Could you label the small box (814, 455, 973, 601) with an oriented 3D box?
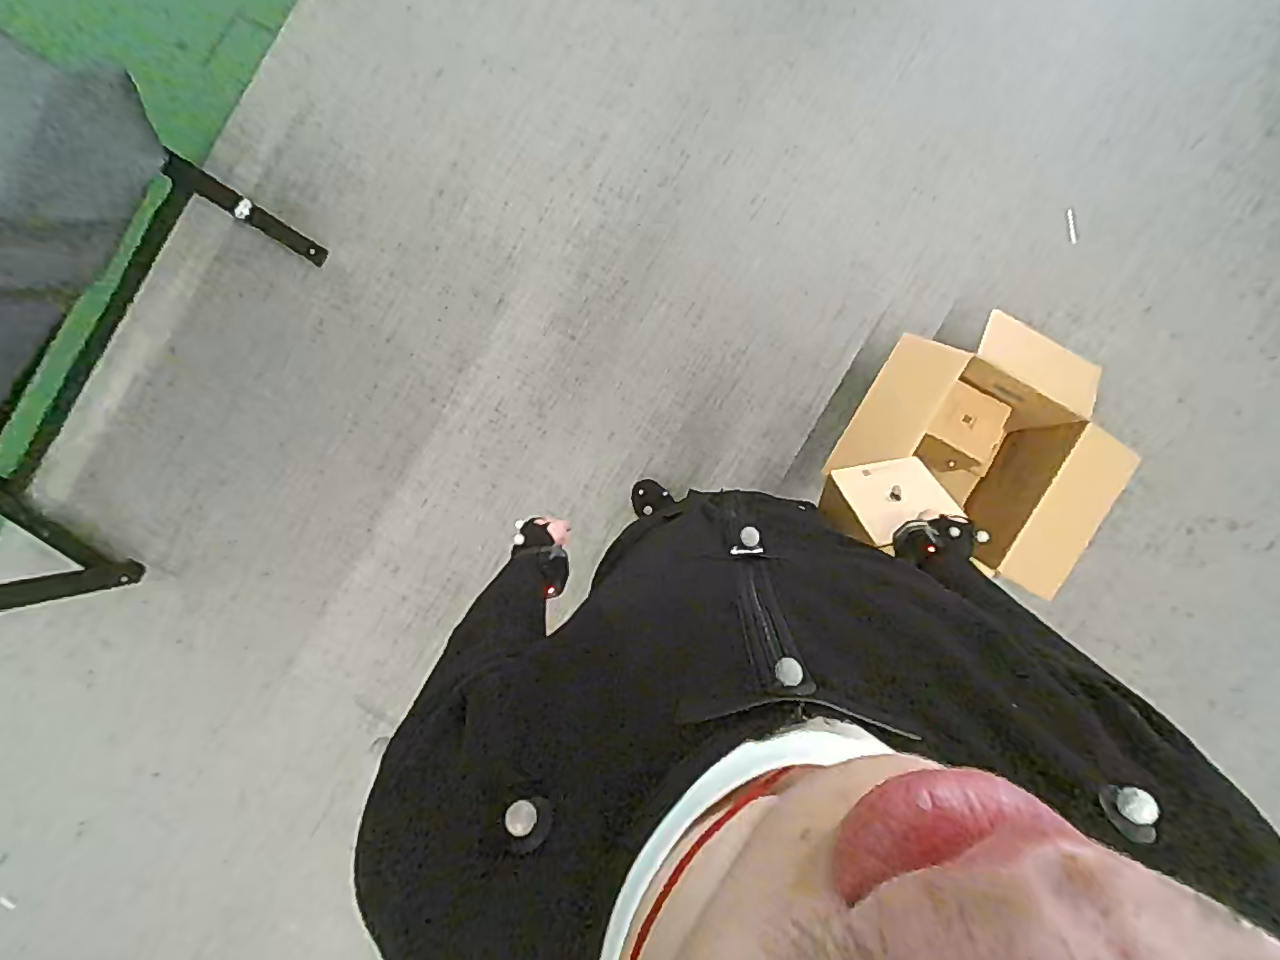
[{"bbox_3d":[0.419,0.075,0.930,0.168,0.179,0.176,-13,47,-6],"label":"small box"}]
